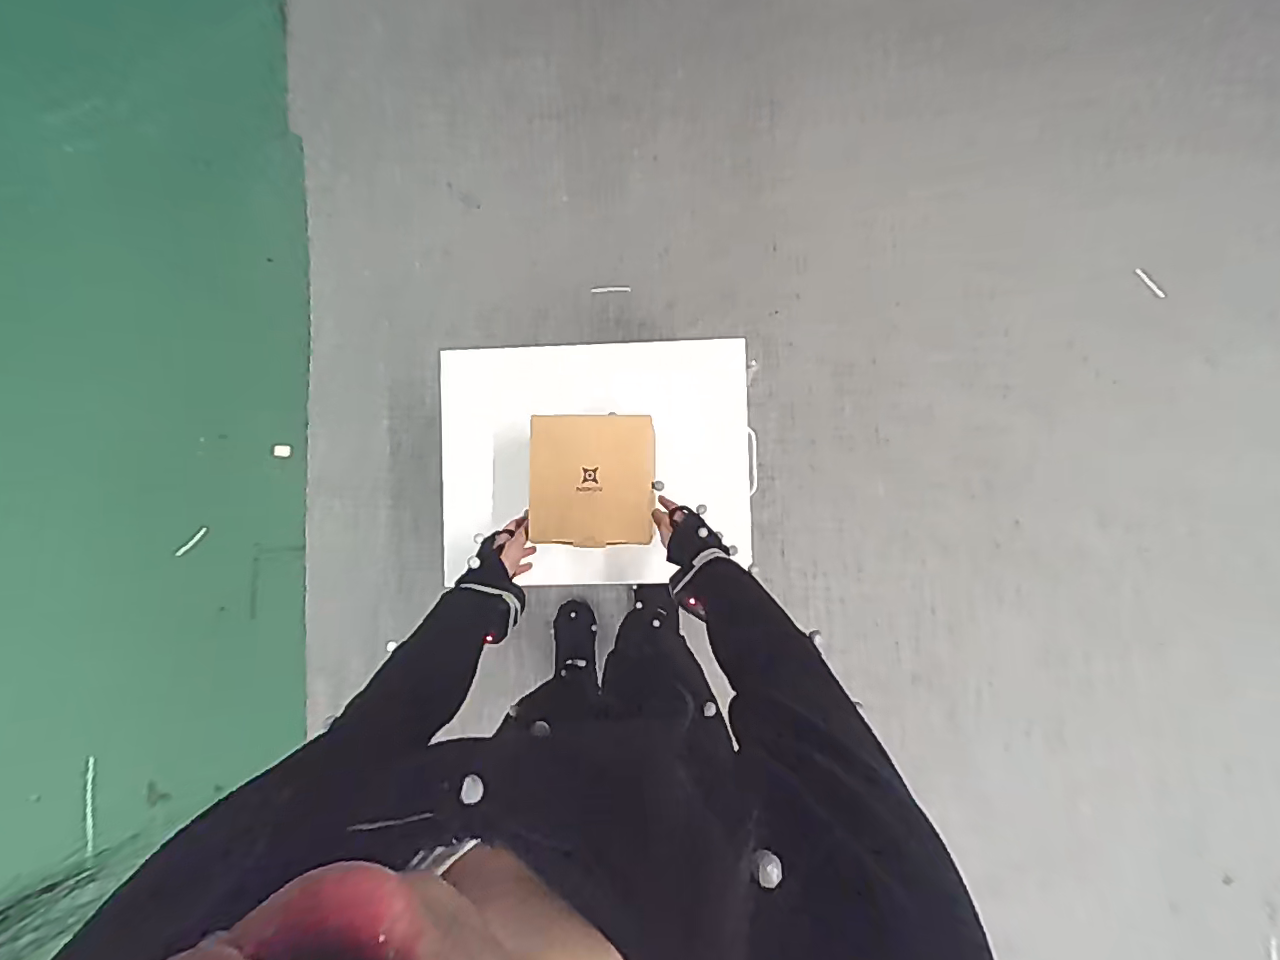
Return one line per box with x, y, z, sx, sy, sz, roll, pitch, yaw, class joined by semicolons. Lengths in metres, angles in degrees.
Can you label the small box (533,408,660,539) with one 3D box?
-0.057;-0.007;0.795;0.168;0.176;0.179;0;89;3;small box
